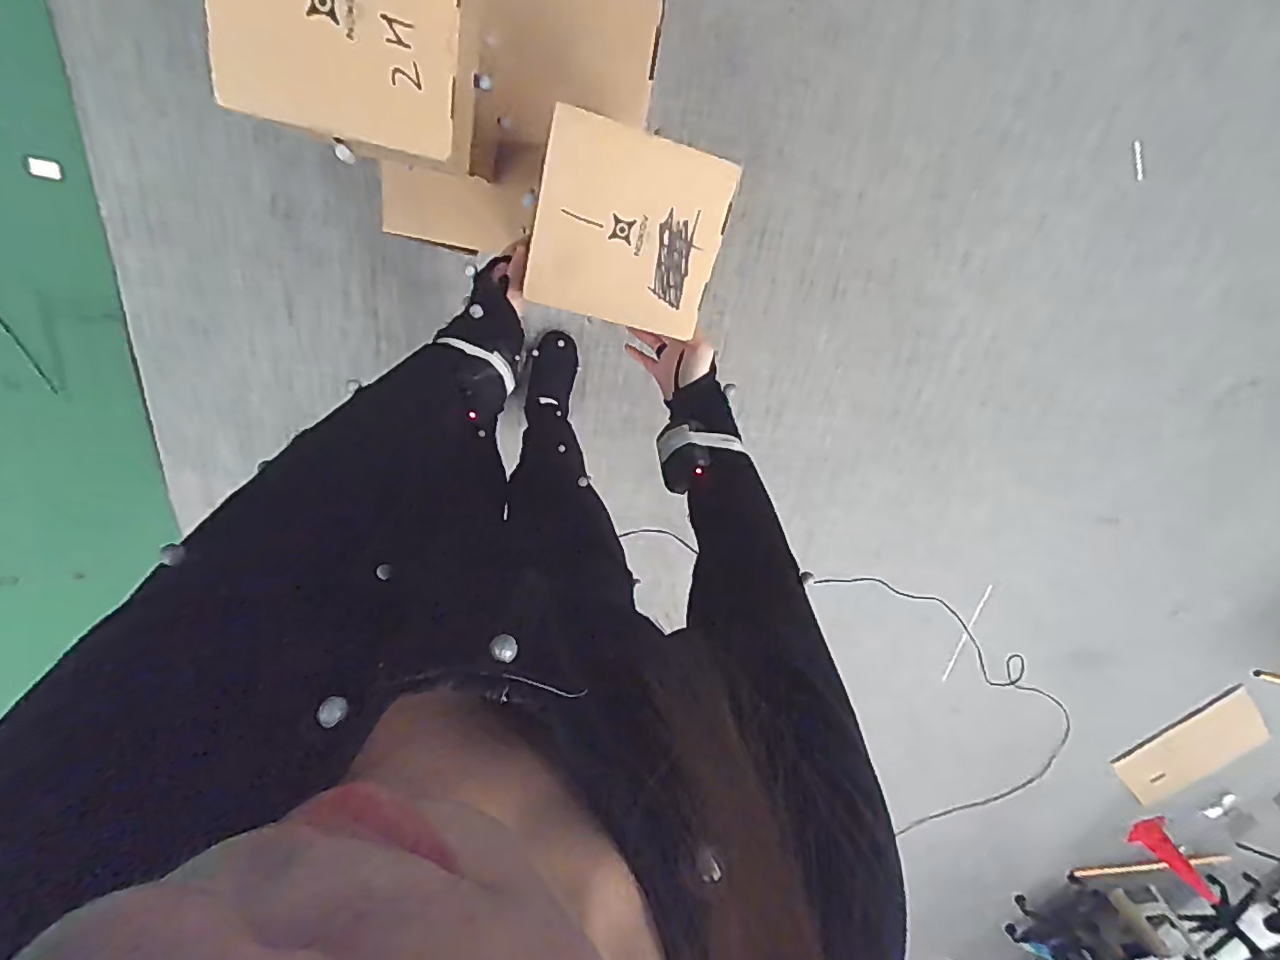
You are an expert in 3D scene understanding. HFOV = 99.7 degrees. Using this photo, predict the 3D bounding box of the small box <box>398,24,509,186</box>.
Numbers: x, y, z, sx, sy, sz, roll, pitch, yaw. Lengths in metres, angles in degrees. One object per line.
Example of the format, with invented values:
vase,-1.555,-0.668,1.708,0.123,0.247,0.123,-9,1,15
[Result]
small box,-0.281,-0.534,0.760,0.168,0.176,0.179,10,113,-13

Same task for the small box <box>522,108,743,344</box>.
small box,-0.021,-0.260,0.572,0.179,0.176,0.168,11,113,-15

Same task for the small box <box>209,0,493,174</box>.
small box,-0.234,-0.380,0.472,0.179,0.176,0.168,8,114,-13
